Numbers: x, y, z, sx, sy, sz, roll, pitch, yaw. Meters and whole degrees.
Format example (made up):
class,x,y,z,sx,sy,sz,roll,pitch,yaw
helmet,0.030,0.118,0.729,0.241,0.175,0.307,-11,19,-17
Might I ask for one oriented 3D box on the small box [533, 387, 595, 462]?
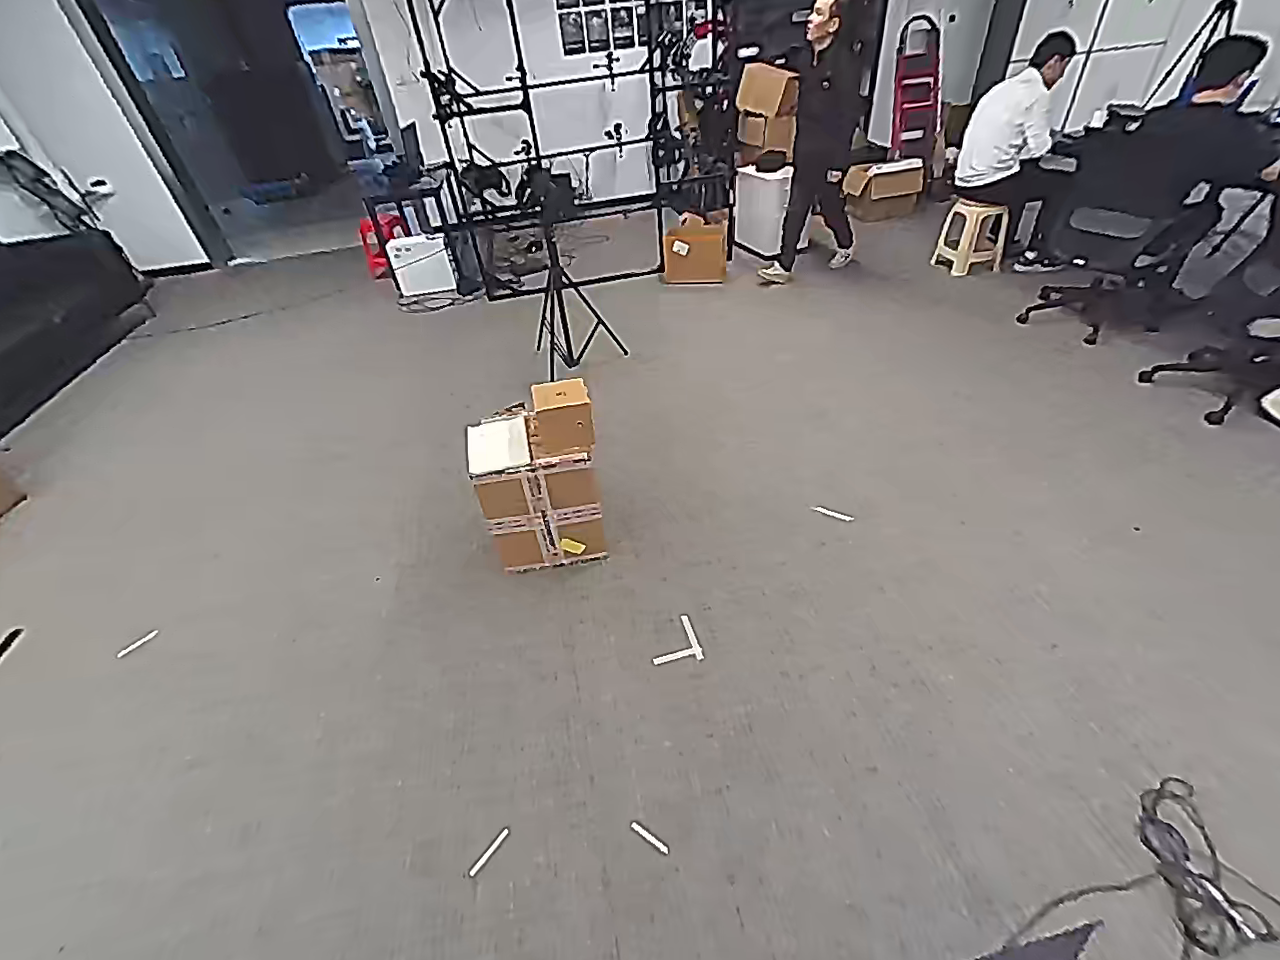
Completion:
class,x,y,z,sx,sy,sz,roll,pitch,yaw
small box,-0.250,-0.182,1.792,0.179,0.176,0.168,-12,41,-8
